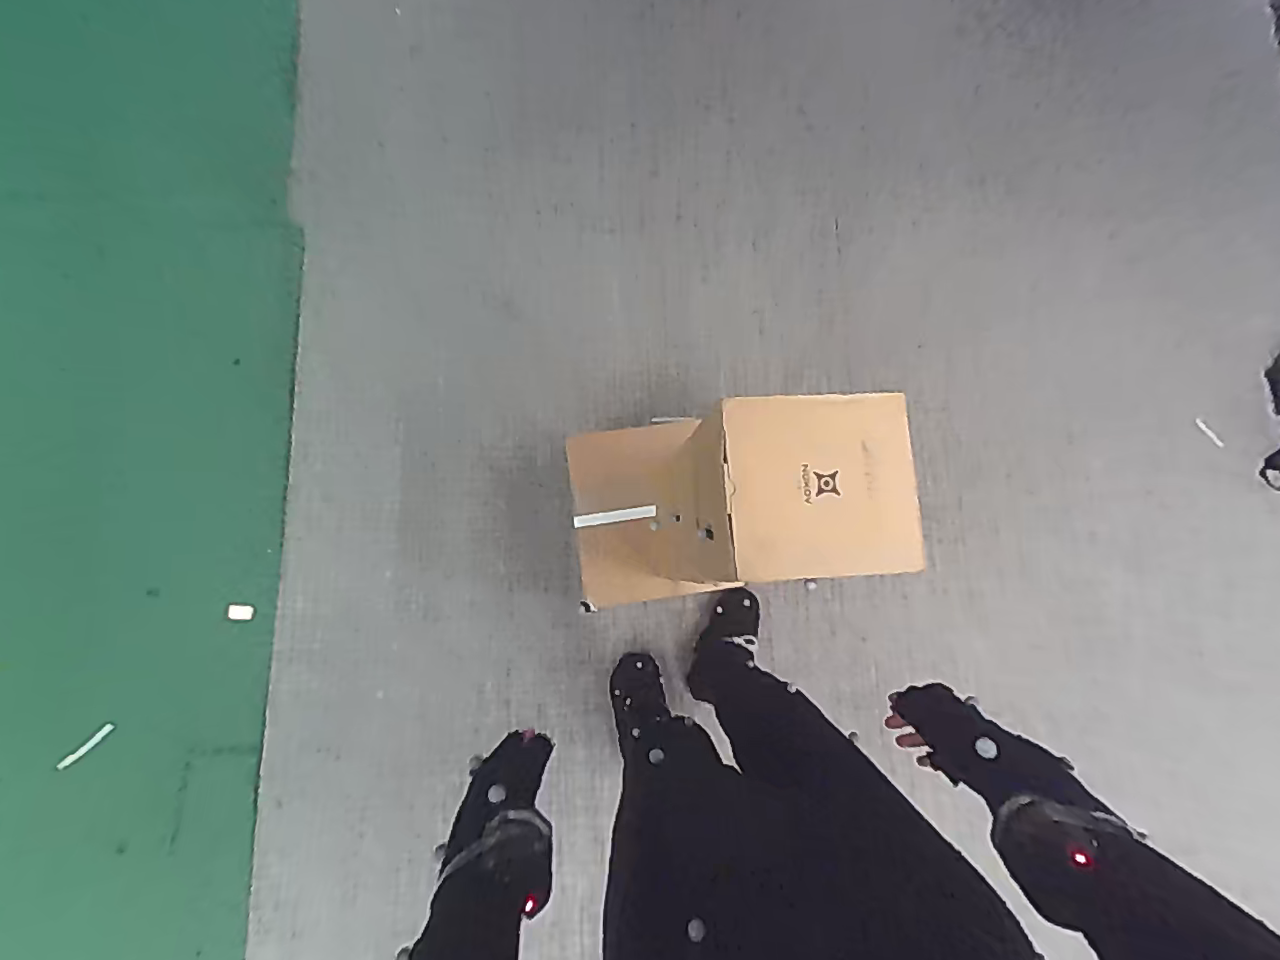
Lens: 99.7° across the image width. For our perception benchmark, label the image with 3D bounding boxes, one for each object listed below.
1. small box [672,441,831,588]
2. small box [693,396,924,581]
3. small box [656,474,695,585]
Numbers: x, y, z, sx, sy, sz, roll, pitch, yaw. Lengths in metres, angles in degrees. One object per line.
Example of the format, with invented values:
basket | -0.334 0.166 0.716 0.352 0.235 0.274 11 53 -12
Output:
small box | 0.139 0.046 0.721 0.168 0.176 0.179 -4 82 -5
small box | 0.154 0.018 0.561 0.179 0.176 0.168 -3 82 -6
small box | 0.124 0.080 0.880 0.179 0.176 0.168 -3 81 -4
